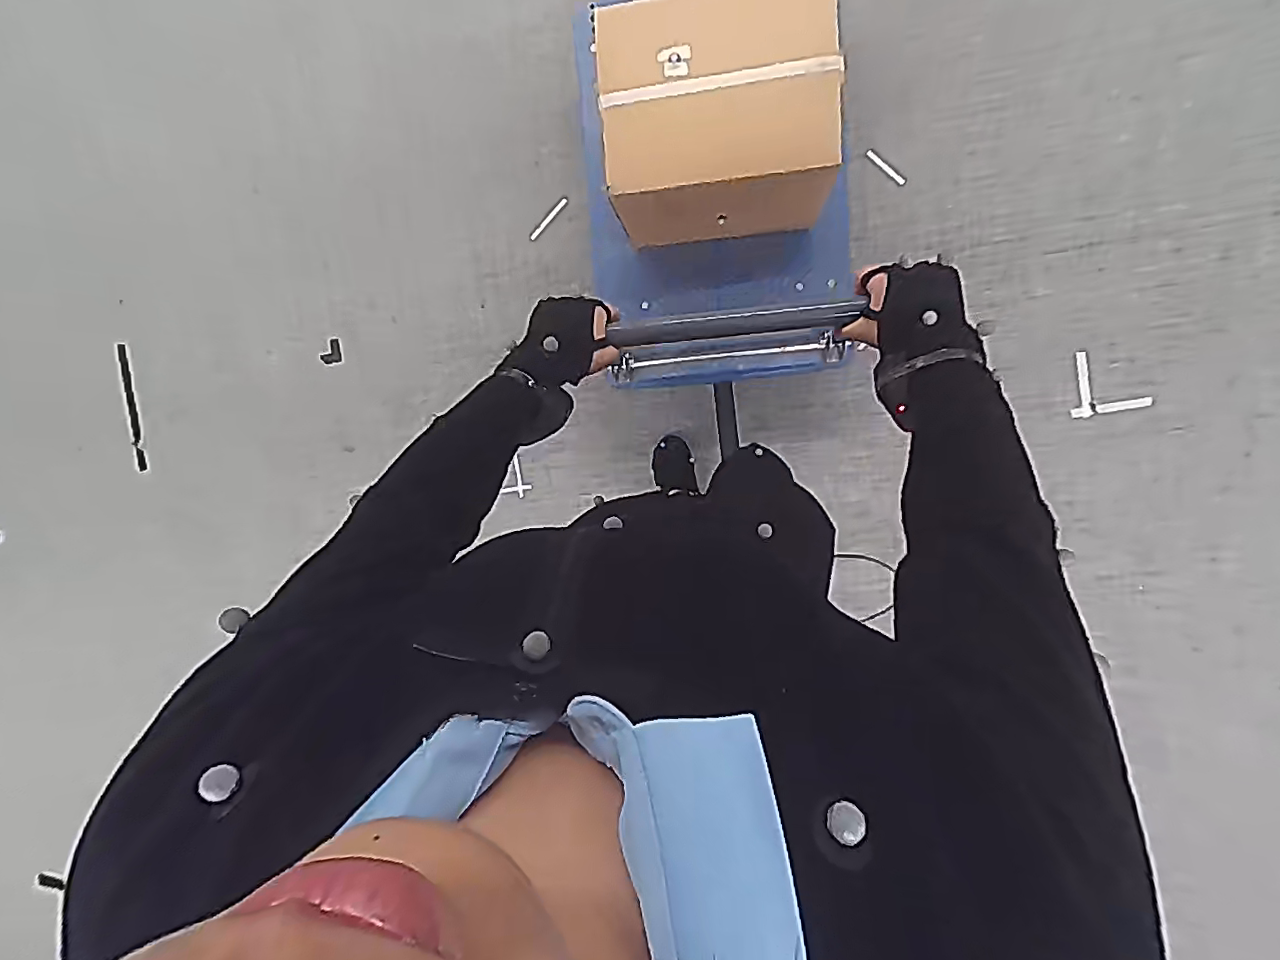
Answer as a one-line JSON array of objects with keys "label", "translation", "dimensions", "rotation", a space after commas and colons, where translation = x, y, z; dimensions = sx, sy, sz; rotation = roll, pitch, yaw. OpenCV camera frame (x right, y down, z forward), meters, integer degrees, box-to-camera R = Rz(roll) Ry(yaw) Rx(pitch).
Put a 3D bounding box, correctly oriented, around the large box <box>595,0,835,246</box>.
[{"label": "large box", "translation": [0.152, -0.698, 1.089], "dimensions": [0.408, 0.320, 0.320], "rotation": [-3, 95, 10]}]
